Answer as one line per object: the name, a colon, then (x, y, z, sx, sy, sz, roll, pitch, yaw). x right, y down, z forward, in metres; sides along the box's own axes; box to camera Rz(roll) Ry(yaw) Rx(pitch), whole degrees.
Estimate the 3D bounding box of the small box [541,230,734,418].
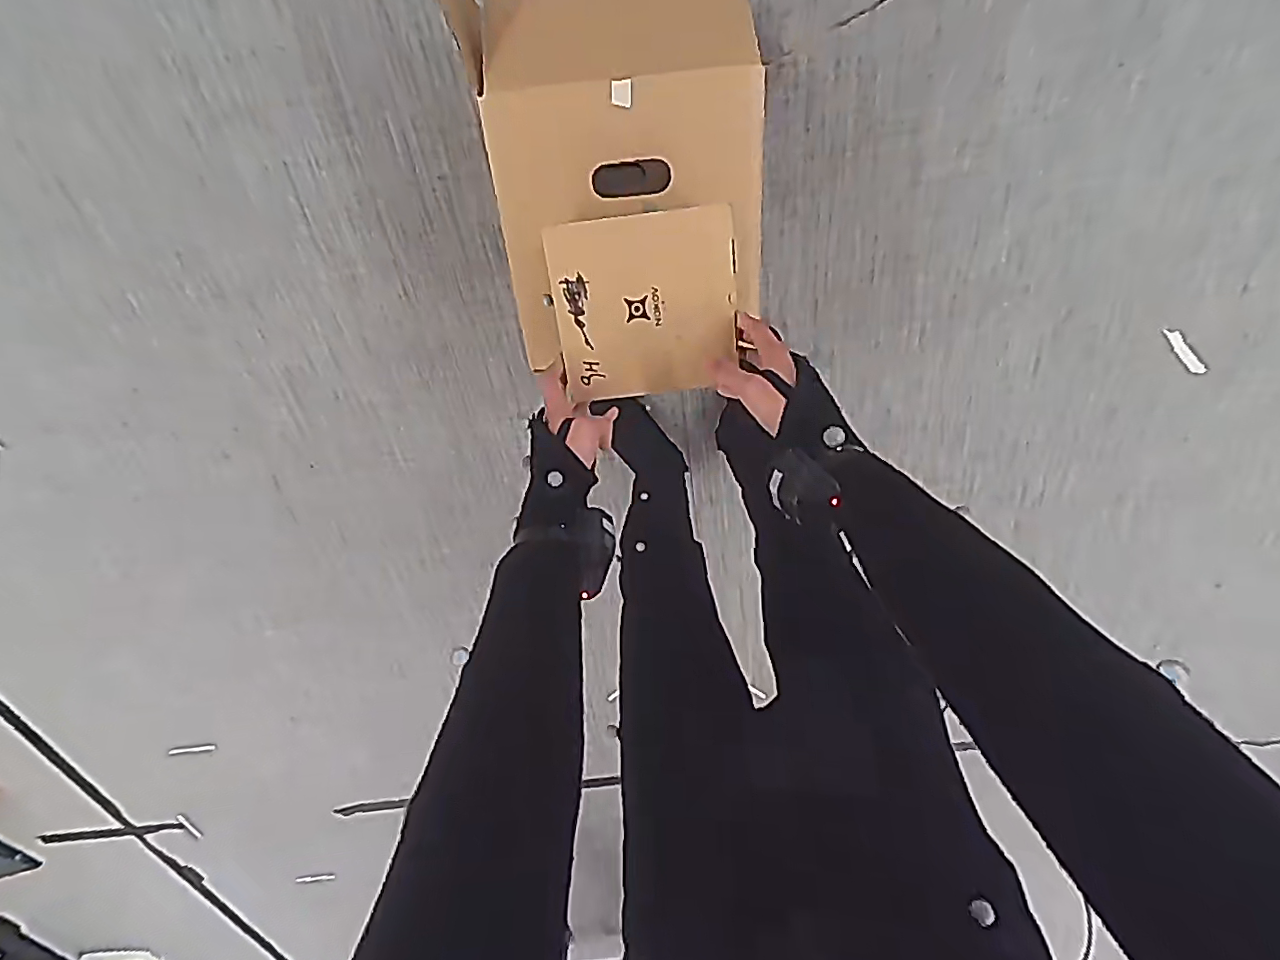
small box: (-0.001, -0.179, 0.595, 0.179, 0.176, 0.168, -7, 114, 1)
